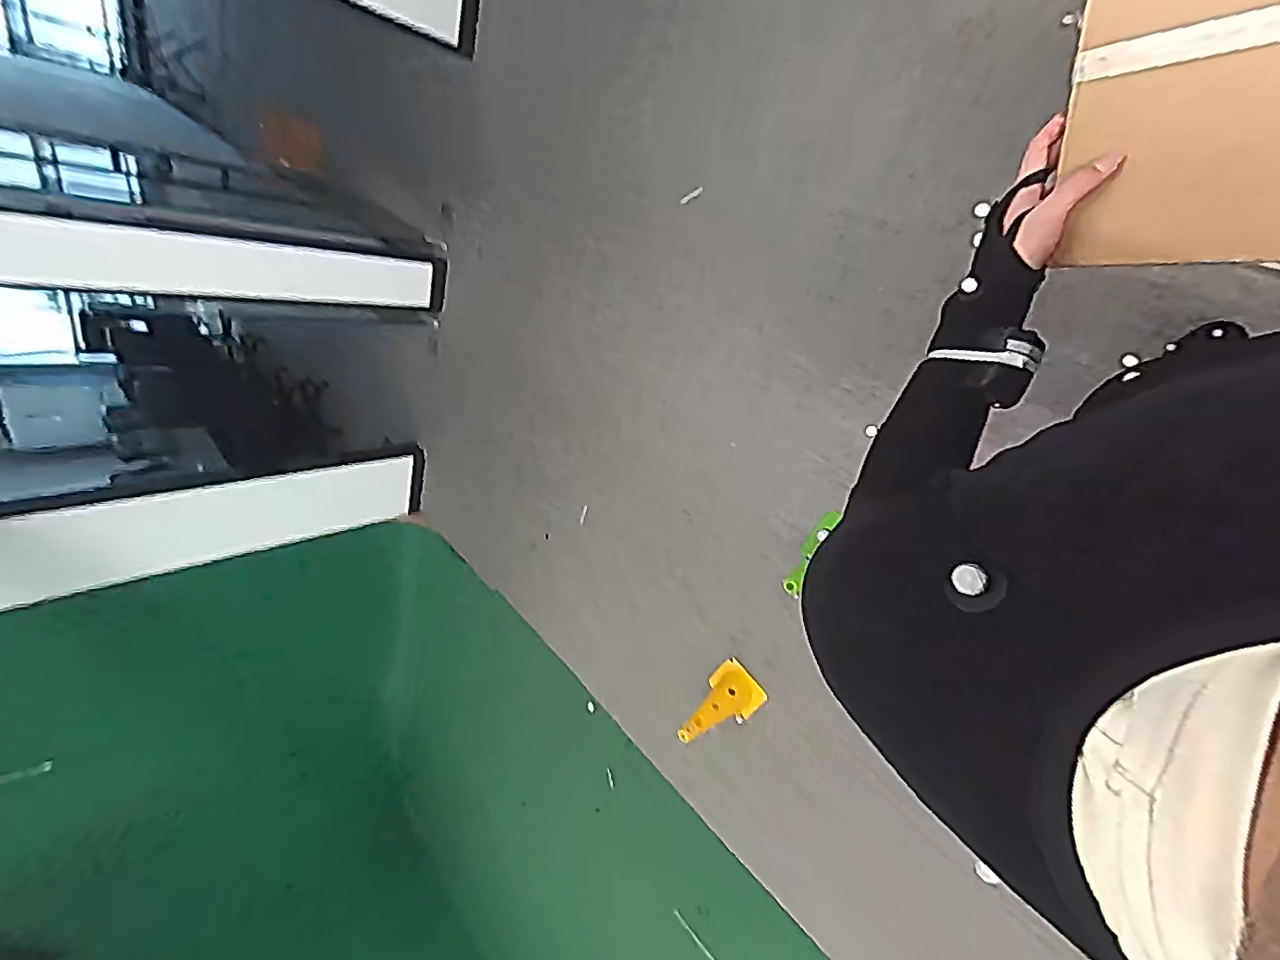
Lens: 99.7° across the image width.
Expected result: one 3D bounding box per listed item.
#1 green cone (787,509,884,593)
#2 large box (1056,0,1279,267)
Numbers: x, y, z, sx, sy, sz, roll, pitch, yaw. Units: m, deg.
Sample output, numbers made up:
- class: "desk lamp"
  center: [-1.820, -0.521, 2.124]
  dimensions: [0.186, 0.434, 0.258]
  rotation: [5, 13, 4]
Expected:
- class: "green cone"
  center: [0.542, 0.254, 1.625]
  dimensions: [0.200, 0.368, 0.202]
  rotation: [42, 127, 27]
- class: "large box"
  center: [0.609, -0.364, 0.409]
  dimensions: [0.408, 0.320, 0.320]
  rotation: [15, 127, 41]
